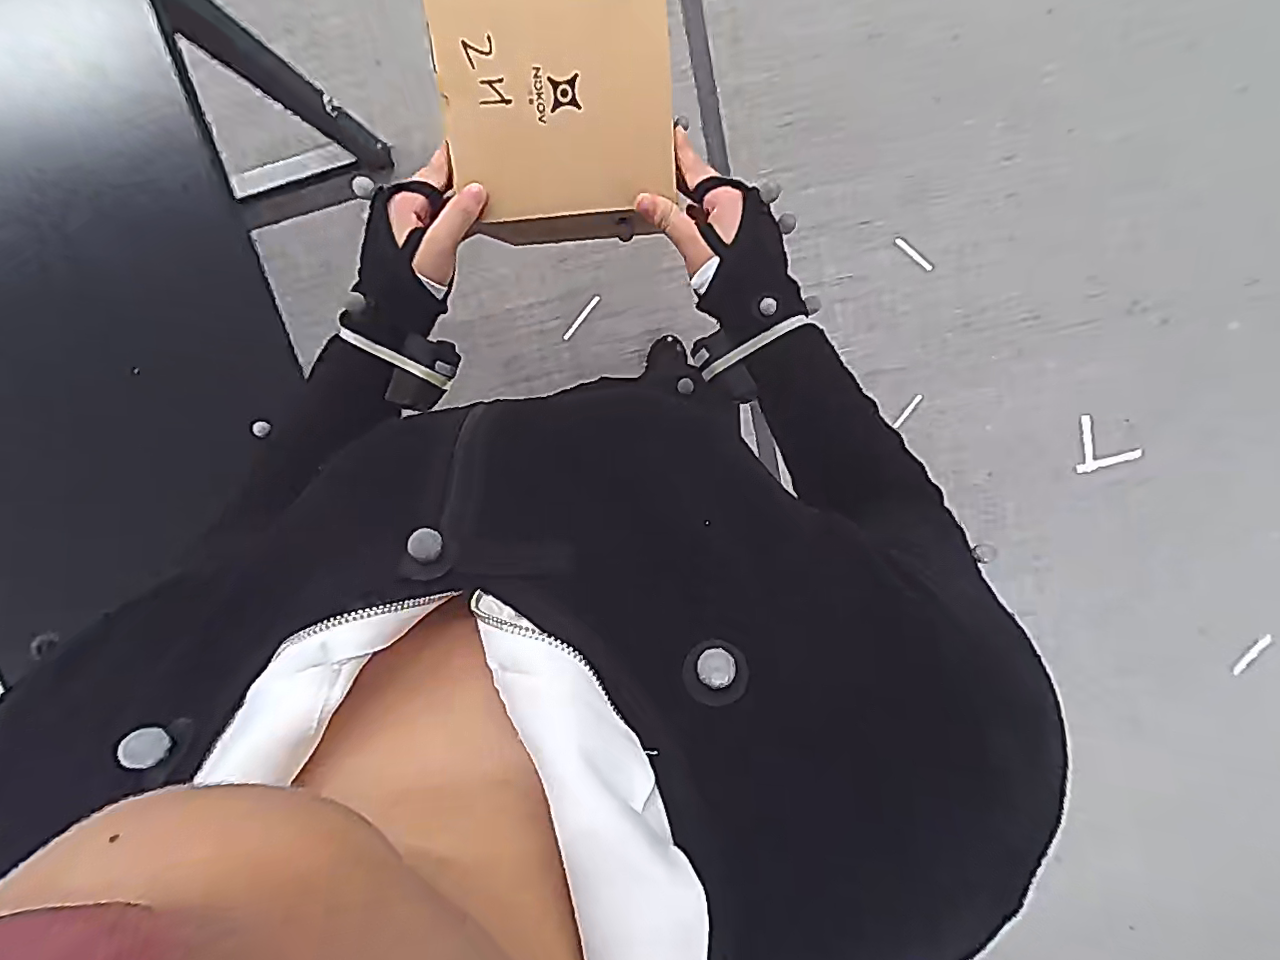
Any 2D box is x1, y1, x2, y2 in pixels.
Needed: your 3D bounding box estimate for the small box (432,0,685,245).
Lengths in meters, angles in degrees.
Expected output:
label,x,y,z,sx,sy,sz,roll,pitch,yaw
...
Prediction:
label,x,y,z,sx,sy,sz,roll,pitch,yaw
small box,-0.054,-0.307,0.474,0.179,0.176,0.168,-3,108,5
